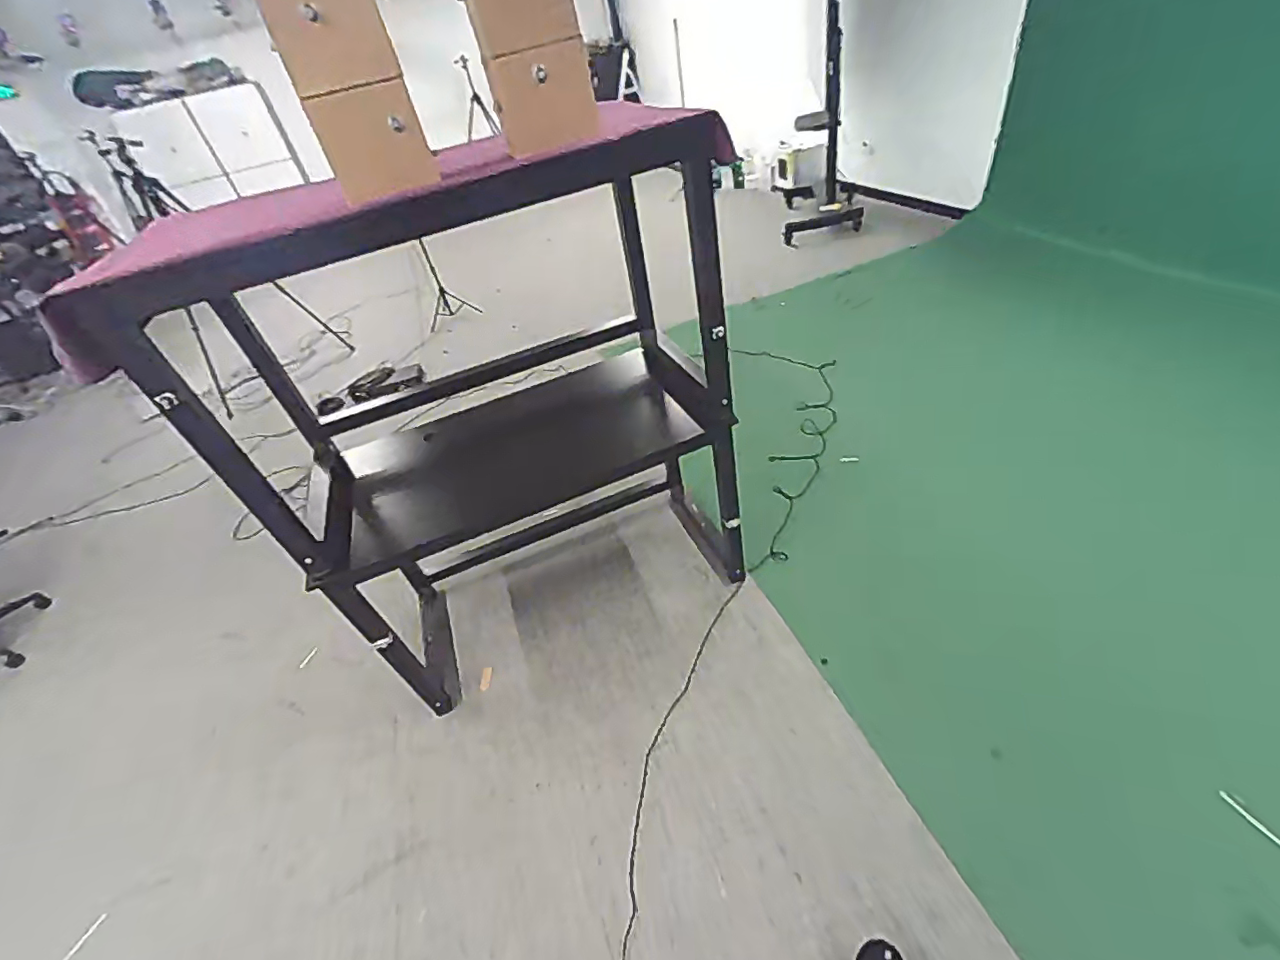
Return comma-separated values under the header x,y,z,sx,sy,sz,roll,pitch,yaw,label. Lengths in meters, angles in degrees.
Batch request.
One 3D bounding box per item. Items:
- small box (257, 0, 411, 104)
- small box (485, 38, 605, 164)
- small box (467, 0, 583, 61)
x,y,z,sx,sy,sz,roll,pitch,yaw,label
-0.512,-0.755,0.914,0.179,0.176,0.168,-21,40,-8,small box
-0.187,-0.746,1.068,0.179,0.176,0.168,-20,42,-7,small box
-0.217,-0.865,0.963,0.179,0.176,0.168,-19,42,-7,small box
